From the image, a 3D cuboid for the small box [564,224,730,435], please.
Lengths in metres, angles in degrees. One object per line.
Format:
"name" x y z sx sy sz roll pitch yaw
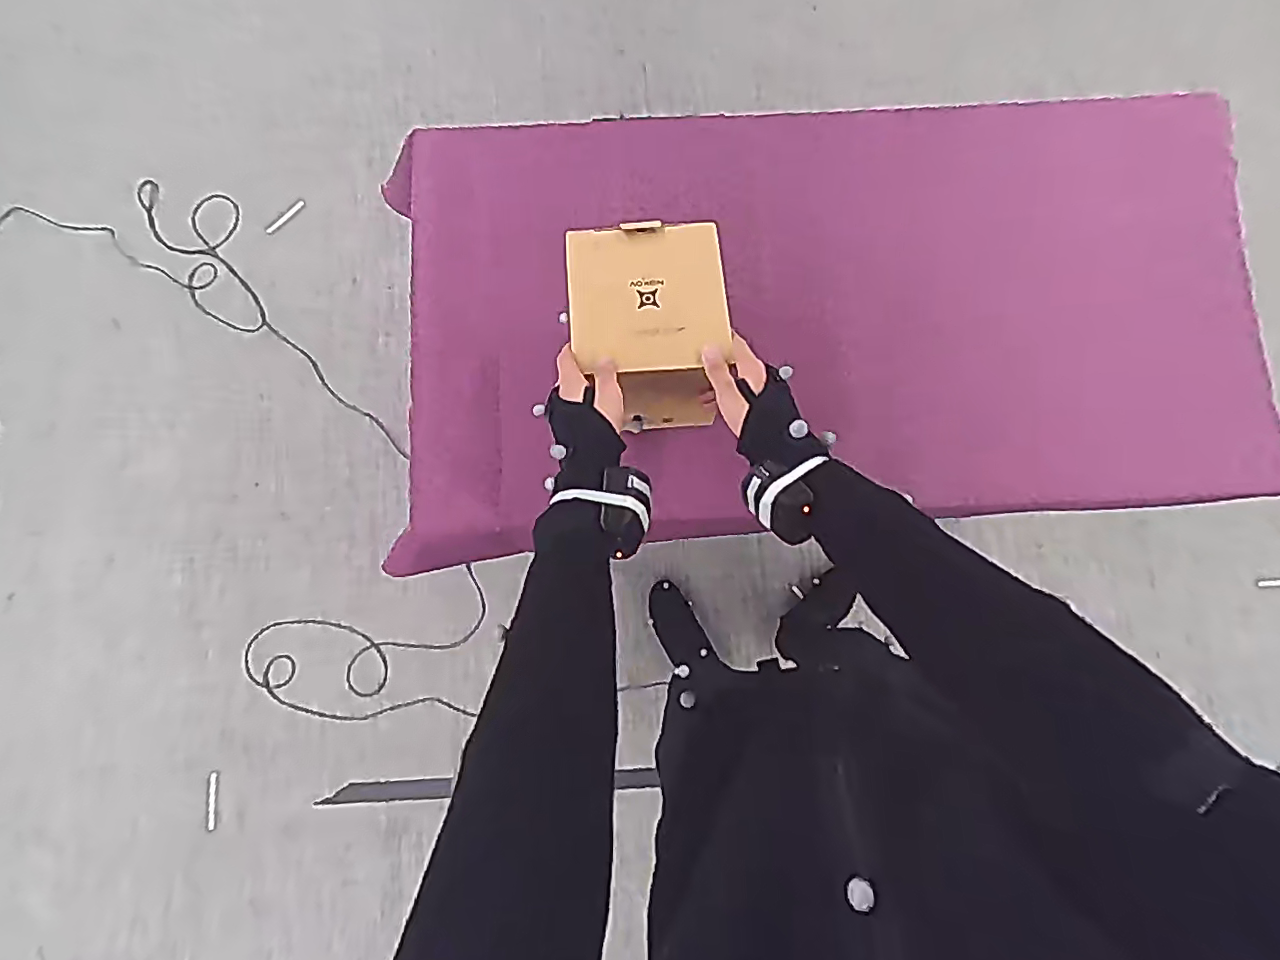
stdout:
"small box" 0.002 -0.166 0.633 0.168 0.176 0.179 -4 74 -1
